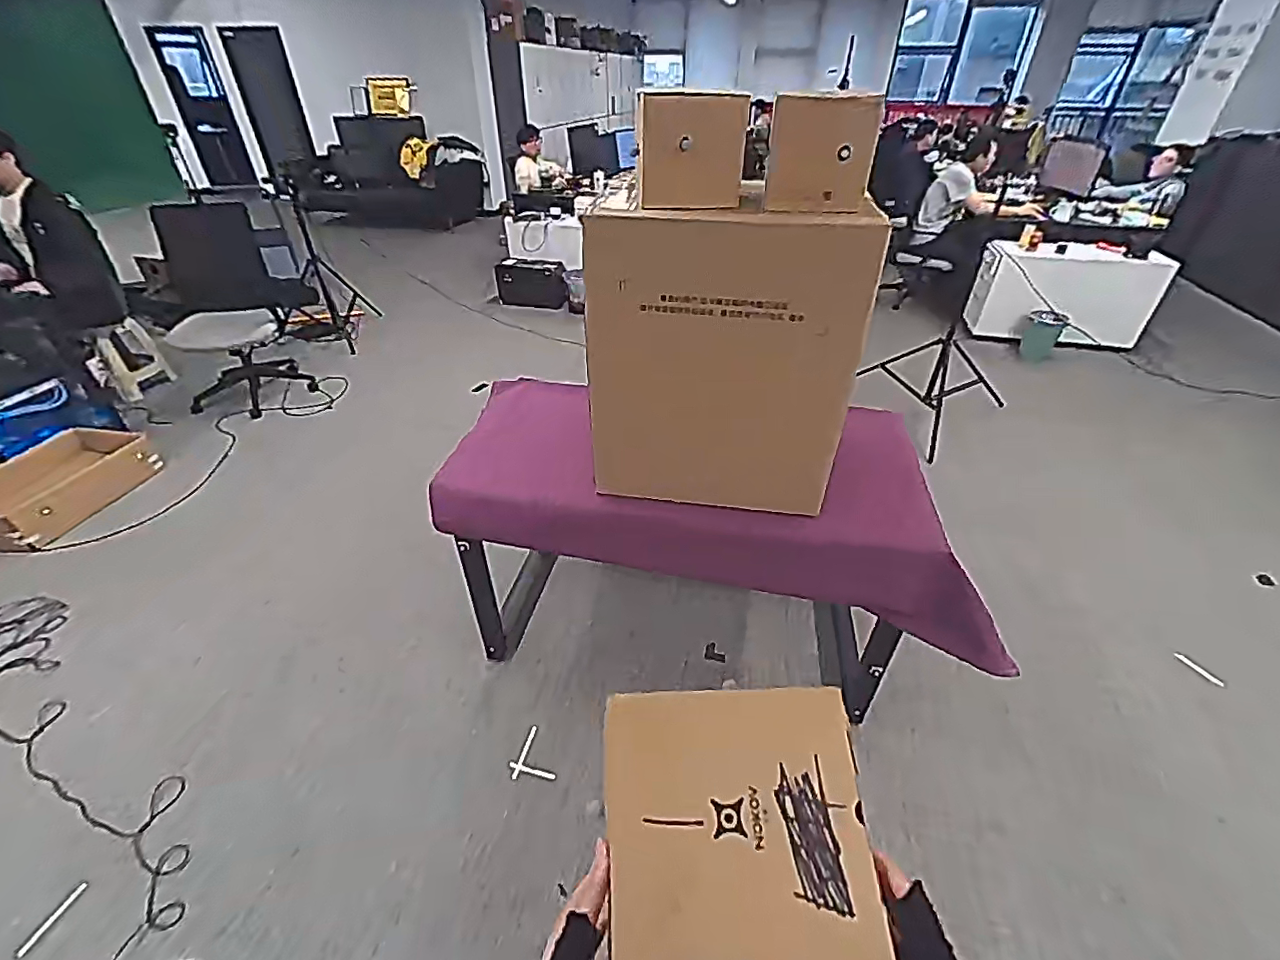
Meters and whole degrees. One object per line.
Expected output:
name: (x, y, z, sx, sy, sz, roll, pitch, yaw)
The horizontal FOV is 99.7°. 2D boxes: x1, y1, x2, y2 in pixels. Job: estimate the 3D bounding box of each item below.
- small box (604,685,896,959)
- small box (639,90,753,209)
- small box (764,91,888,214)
small box: (0.062, 0.261, 0.428, 0.179, 0.176, 0.168, 1, 59, -4)
small box: (0.090, -0.590, 0.965, 0.179, 0.176, 0.168, -2, 38, -4)
small box: (0.313, -0.573, 0.945, 0.168, 0.176, 0.179, 6, 37, 7)
